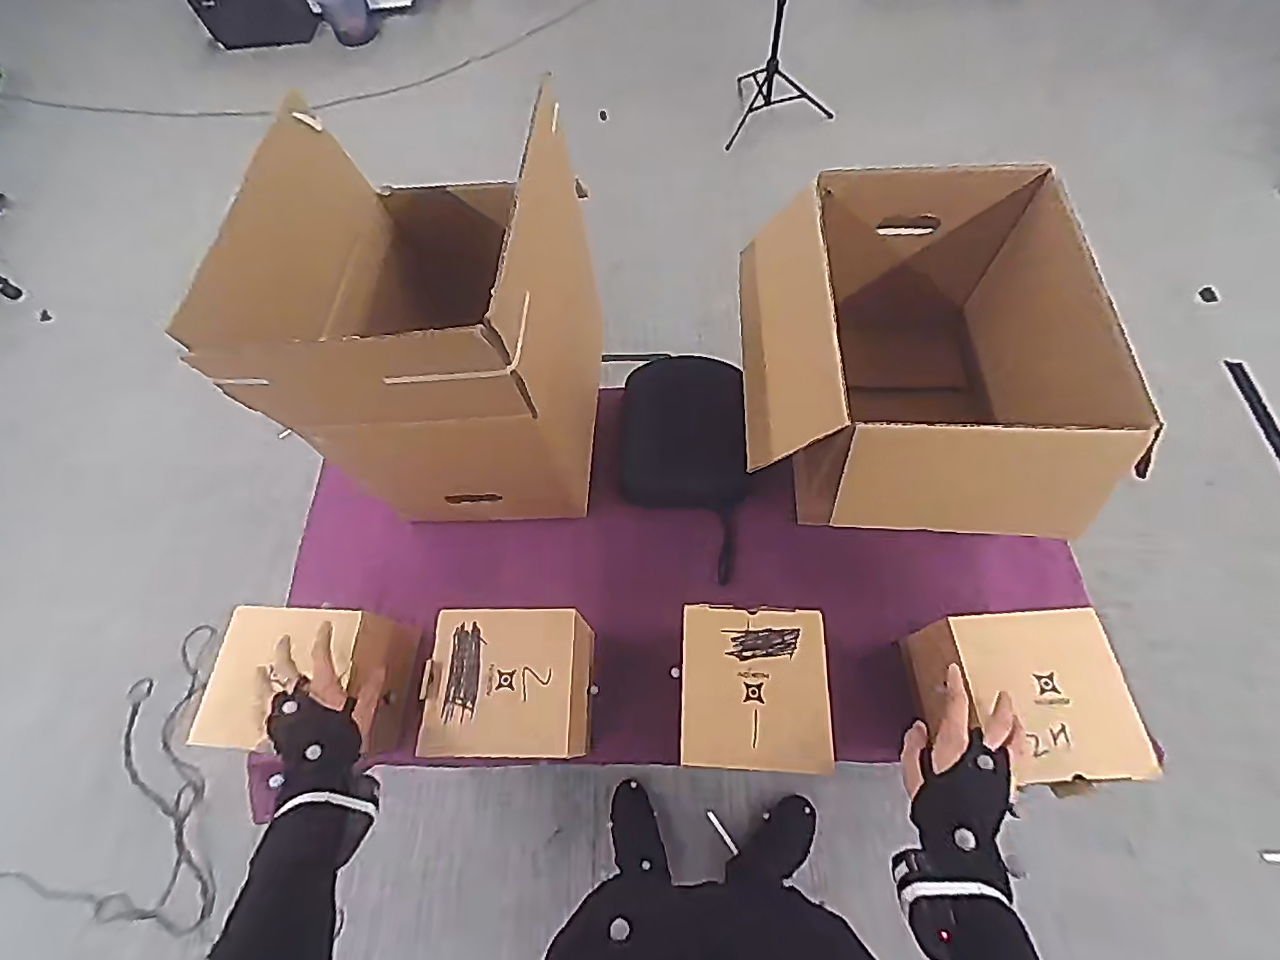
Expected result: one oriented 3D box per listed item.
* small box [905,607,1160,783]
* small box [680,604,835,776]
[{"bbox_3d":[0.449,0.264,0.659,0.168,0.176,0.179,-4,65,4],"label":"small box"},{"bbox_3d":[0.137,0.265,0.686,0.168,0.176,0.179,1,66,5],"label":"small box"}]
